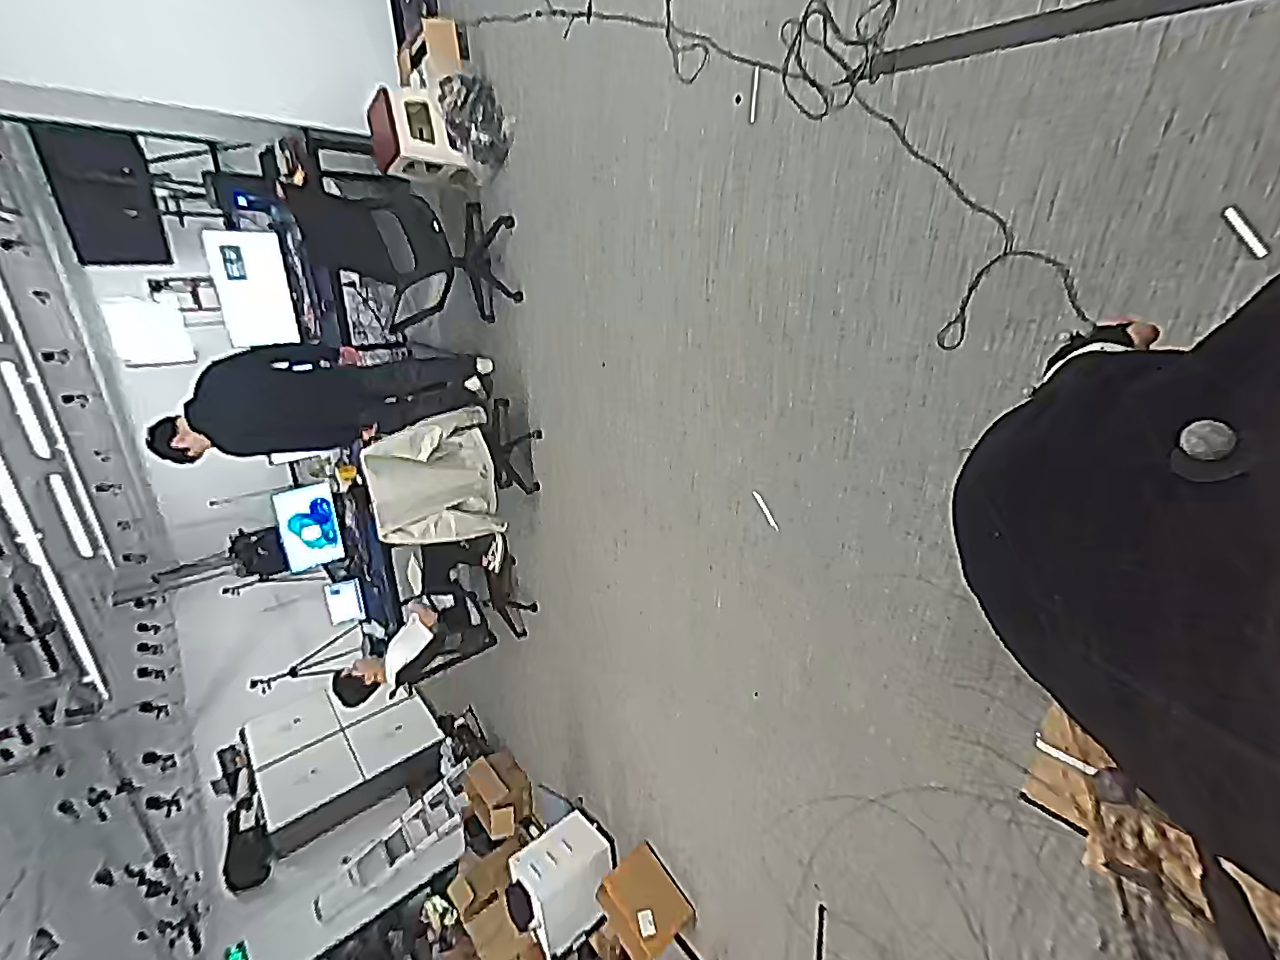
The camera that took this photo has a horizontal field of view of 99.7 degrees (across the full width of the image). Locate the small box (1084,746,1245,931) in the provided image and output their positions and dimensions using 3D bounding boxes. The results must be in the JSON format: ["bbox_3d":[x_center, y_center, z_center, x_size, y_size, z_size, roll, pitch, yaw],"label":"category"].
[{"bbox_3d":[0.937,0.627,0.968,0.168,0.176,0.179,20,118,45],"label":"small box"}]
